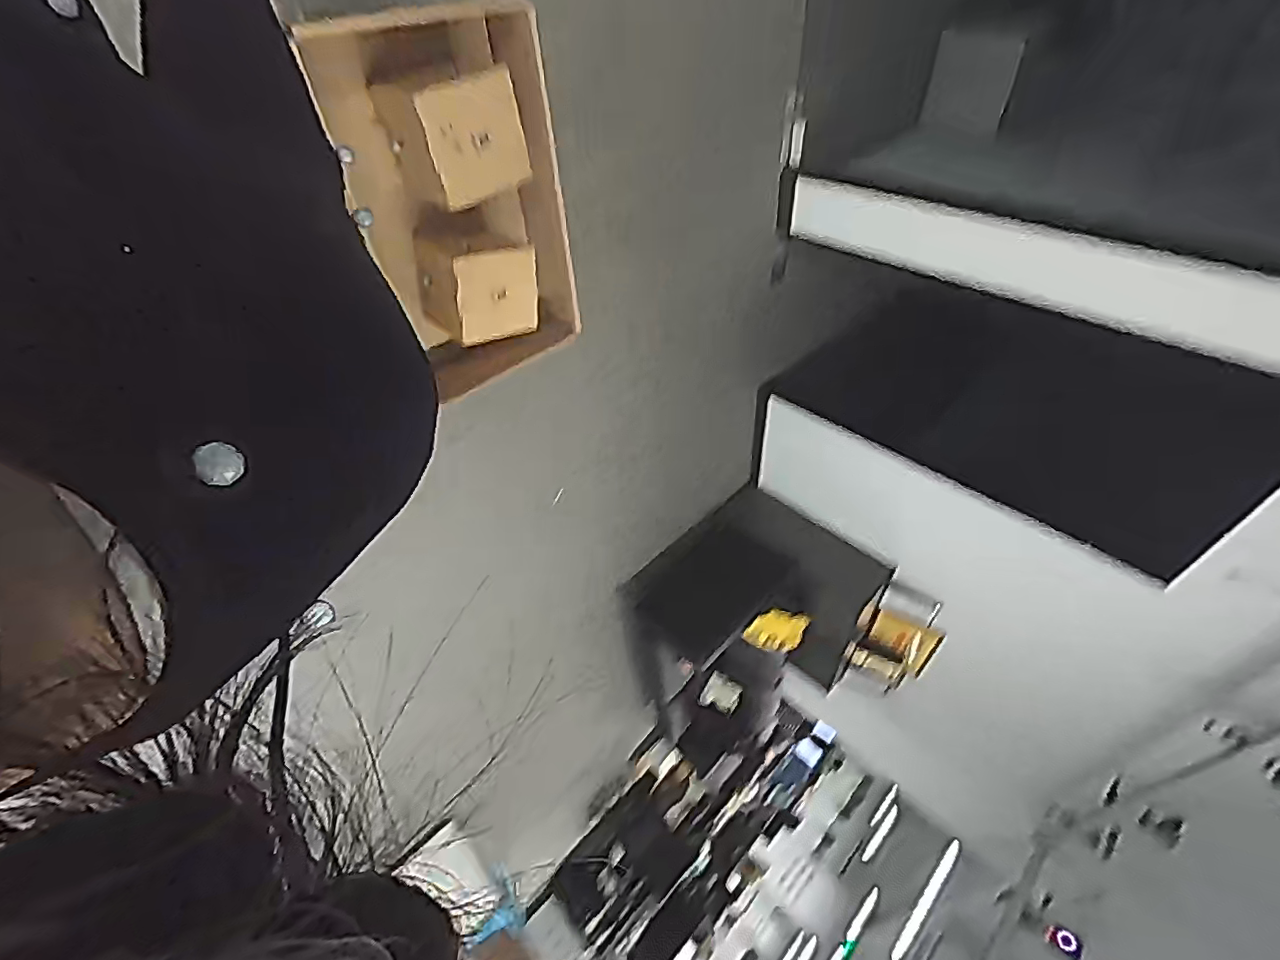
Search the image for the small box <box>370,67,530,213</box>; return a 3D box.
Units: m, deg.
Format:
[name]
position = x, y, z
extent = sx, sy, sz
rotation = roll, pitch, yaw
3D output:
[small box]
position = -0.321, -0.588, 0.928
extent = 0.179, 0.176, 0.168
rotation = -37, 144, -25
